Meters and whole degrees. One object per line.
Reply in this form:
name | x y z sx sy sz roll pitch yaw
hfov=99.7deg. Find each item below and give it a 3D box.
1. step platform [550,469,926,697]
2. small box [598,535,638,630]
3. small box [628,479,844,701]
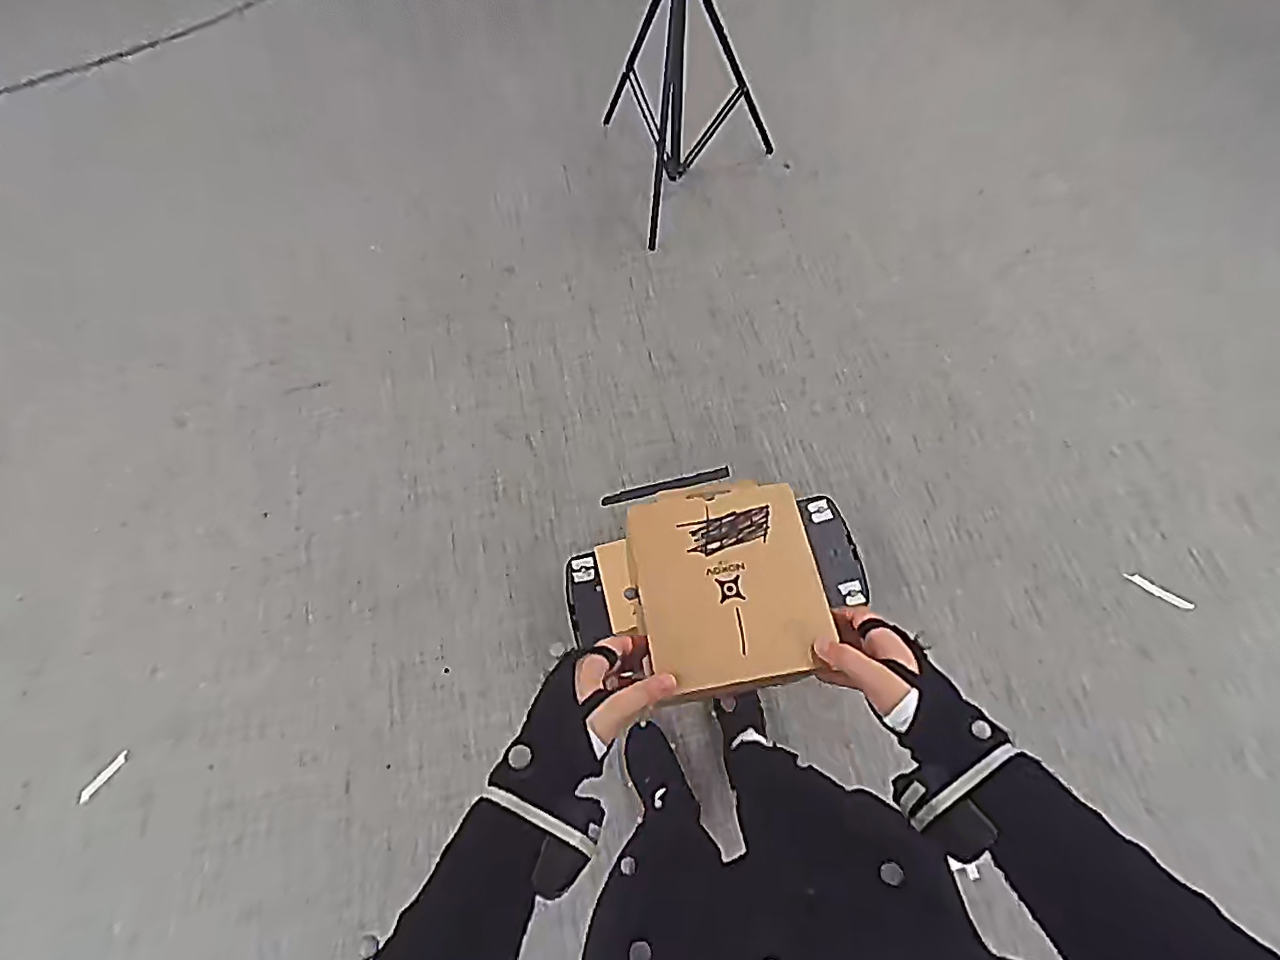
step platform | 0.178 0.208 1.083 0.684 0.204 0.286 -14 70 -3
small box | 0.009 0.215 1.124 0.168 0.176 0.179 -14 70 -3
small box | 0.079 0.121 0.562 0.168 0.176 0.179 -9 65 -5
